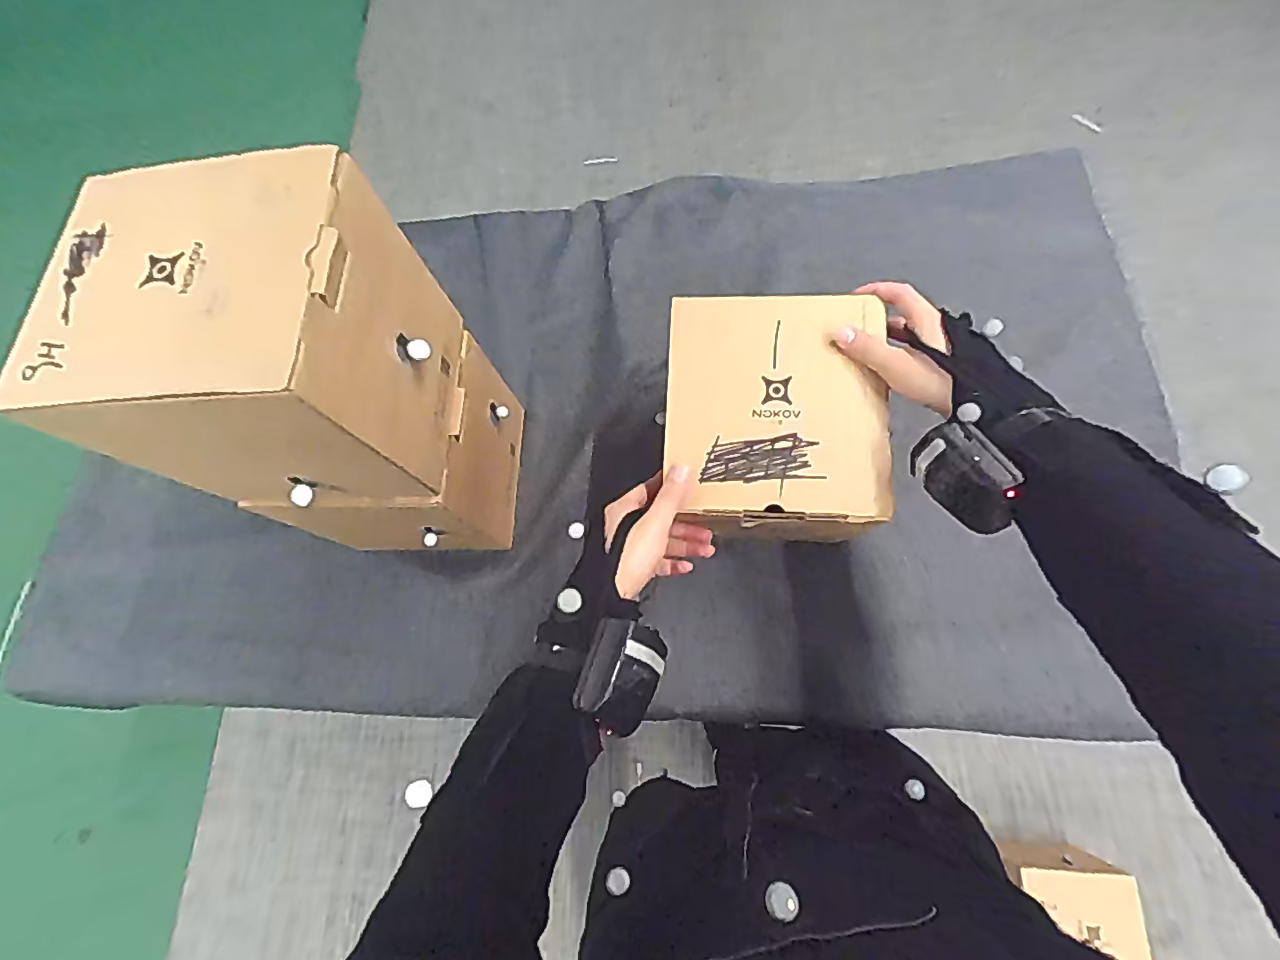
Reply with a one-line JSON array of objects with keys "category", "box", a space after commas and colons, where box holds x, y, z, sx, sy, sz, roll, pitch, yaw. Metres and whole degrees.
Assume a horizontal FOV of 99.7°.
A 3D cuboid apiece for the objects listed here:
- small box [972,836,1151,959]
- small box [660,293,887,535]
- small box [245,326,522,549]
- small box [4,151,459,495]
[{"category": "small box", "box": [0.714, 0.734, 0.931, 0.179, 0.176, 0.168, -1, 70, 7]}, {"category": "small box", "box": [0.111, -0.046, 0.487, 0.168, 0.176, 0.179, 2, 78, 7]}, {"category": "small box", "box": [-0.228, -0.031, 0.534, 0.179, 0.176, 0.168, -2, 69, 7]}, {"category": "small box", "box": [-0.247, -0.092, 0.383, 0.179, 0.176, 0.168, -2, 70, 5]}]
